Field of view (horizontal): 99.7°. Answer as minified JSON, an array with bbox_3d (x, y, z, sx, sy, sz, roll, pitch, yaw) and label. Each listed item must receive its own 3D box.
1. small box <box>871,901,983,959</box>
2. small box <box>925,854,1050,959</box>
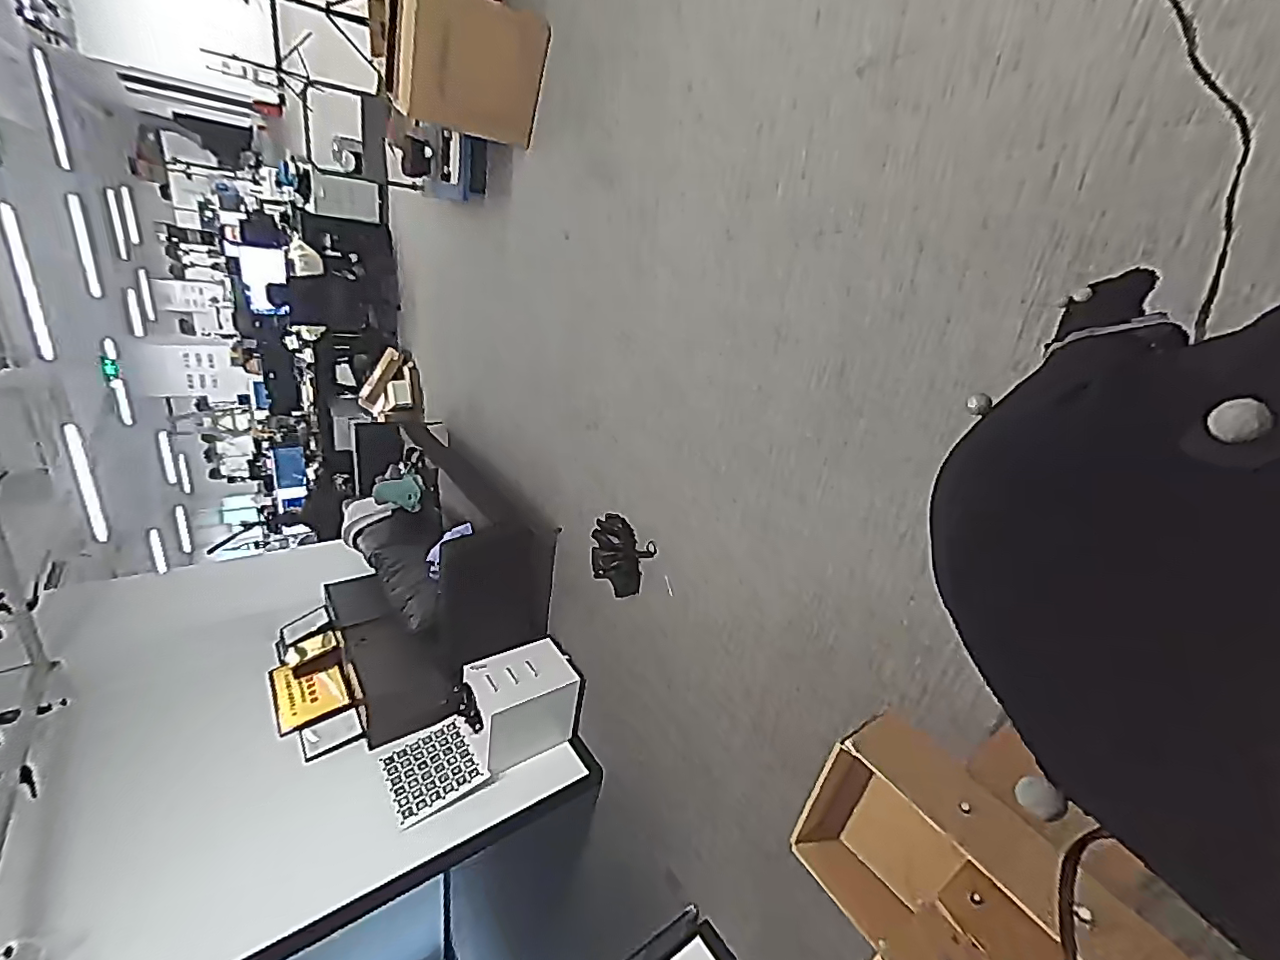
[{"bbox_3d":[0.510,0.907,0.960,0.168,0.176,0.179,42,129,44],"label":"small box"},{"bbox_3d":[0.647,0.878,1.046,0.168,0.176,0.179,42,132,44],"label":"small box"}]
